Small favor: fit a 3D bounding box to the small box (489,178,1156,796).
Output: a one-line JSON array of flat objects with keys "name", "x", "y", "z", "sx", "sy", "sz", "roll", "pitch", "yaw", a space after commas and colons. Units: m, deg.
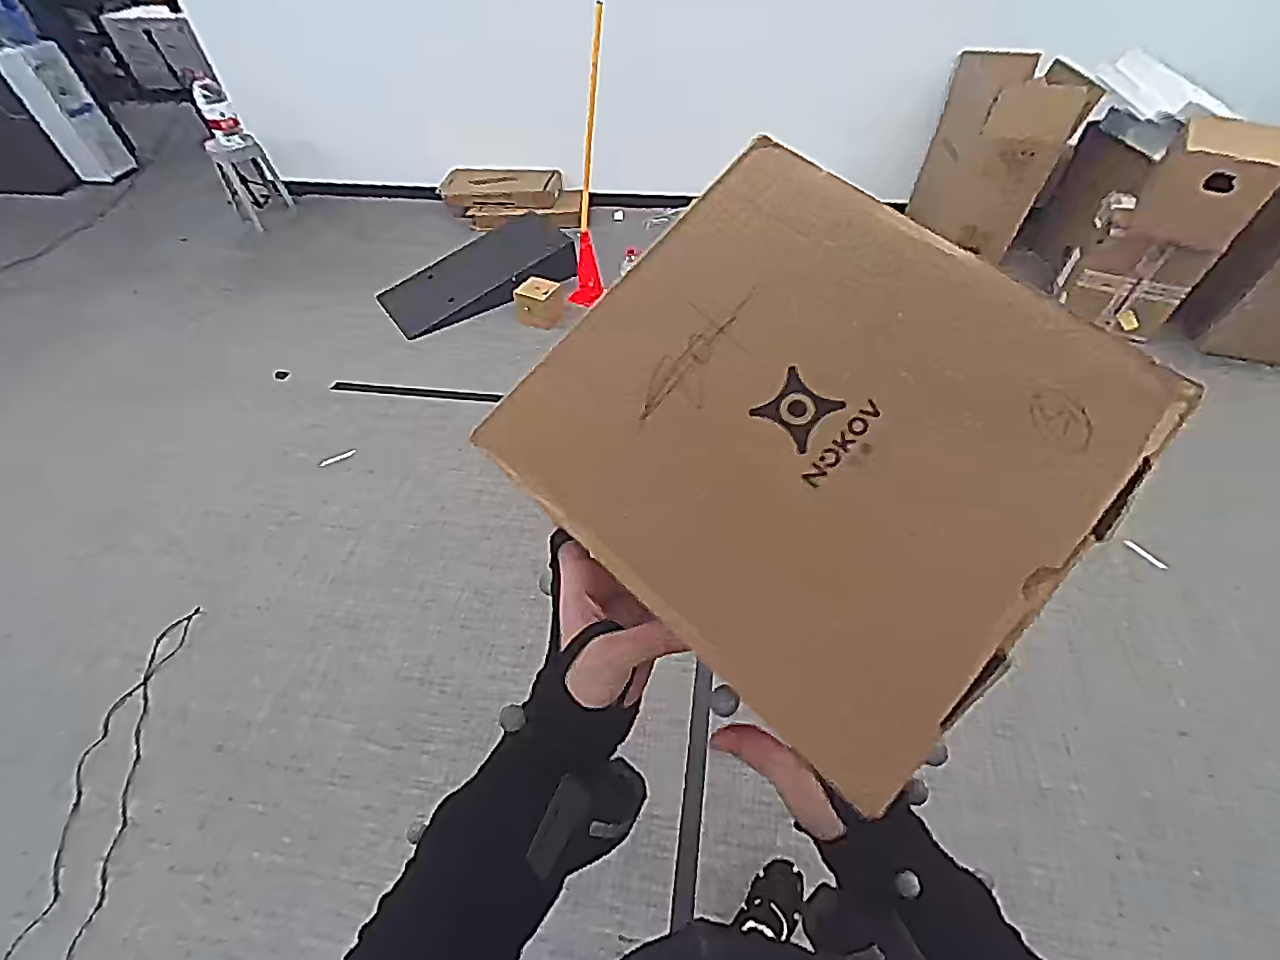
[{"name": "small box", "x": 0.068, "y": 0.006, "z": 0.270, "sx": 0.179, "sy": 0.176, "sz": 0.168, "roll": 40, "pitch": 82, "yaw": 17}]
